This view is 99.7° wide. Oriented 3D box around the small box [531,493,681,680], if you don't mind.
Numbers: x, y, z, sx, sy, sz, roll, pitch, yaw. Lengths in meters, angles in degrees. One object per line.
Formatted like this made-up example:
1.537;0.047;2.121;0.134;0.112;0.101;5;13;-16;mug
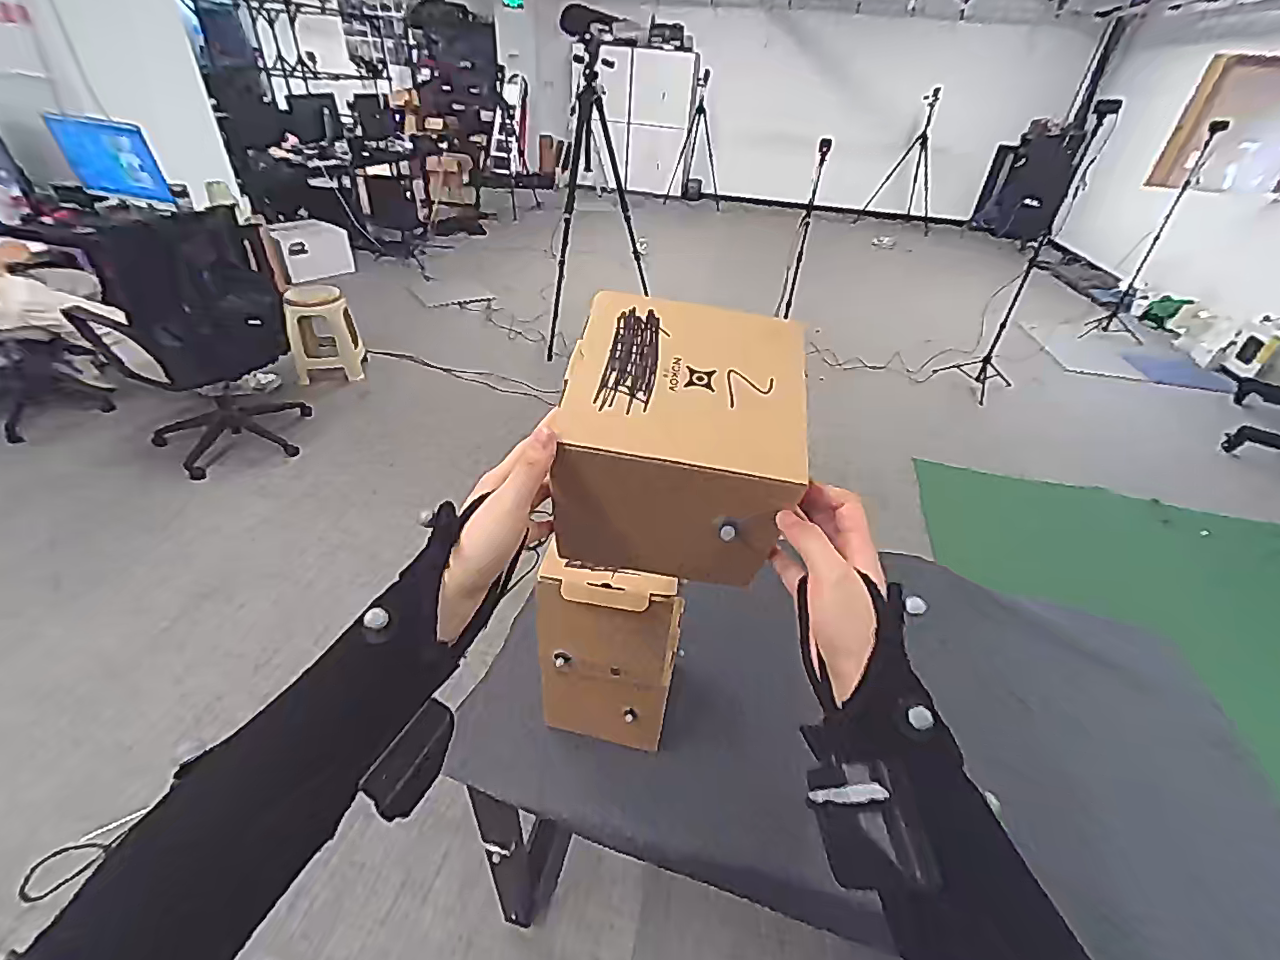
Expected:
-0.039;0.142;0.731;0.168;0.176;0.179;8;34;4;small box

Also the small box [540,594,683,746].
-0.038;0.276;0.827;0.179;0.176;0.168;9;35;8;small box
